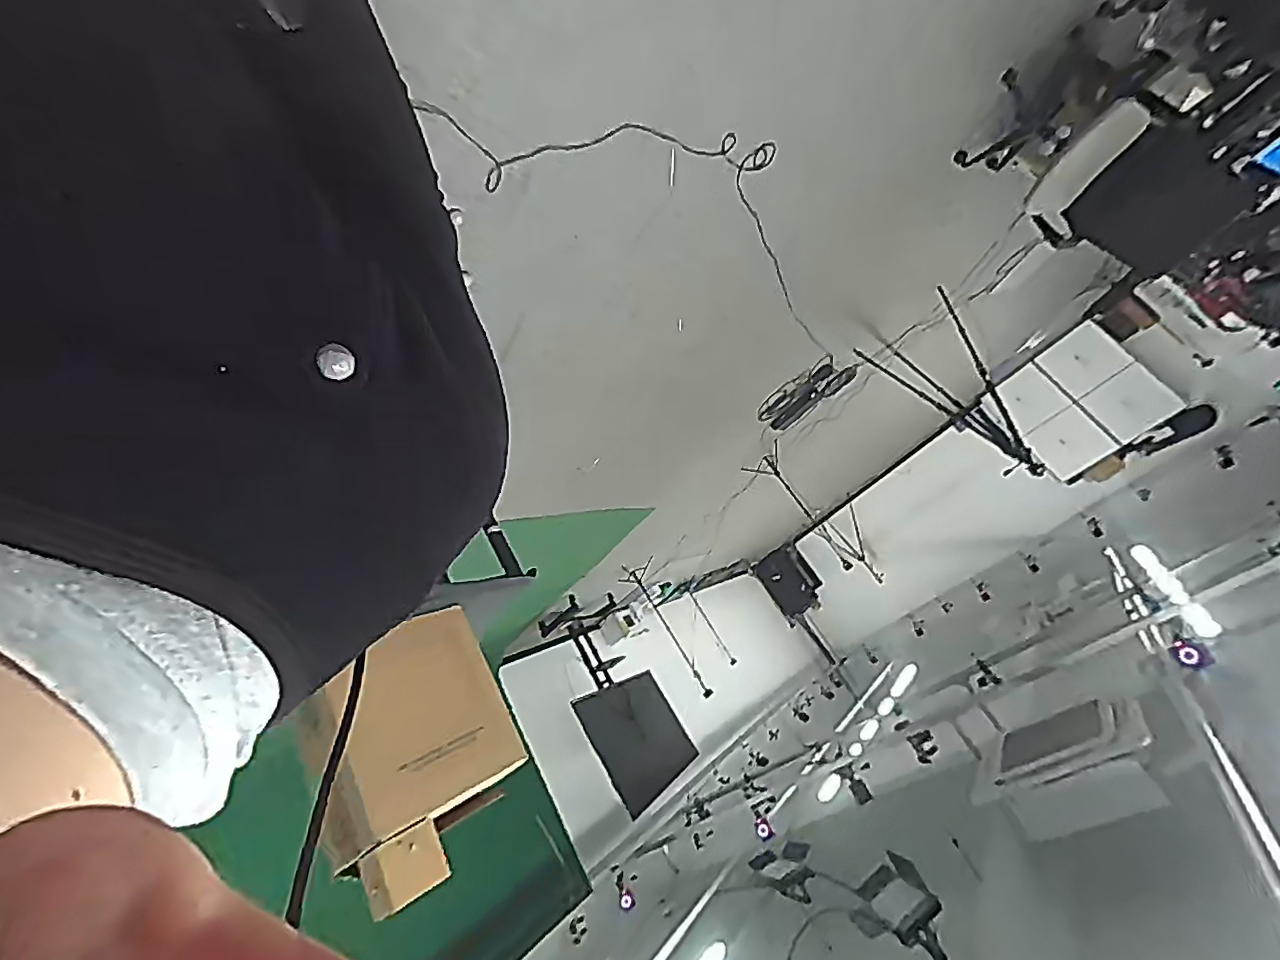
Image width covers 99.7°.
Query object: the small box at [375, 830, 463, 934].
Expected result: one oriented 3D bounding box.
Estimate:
[{"bbox_3d":[-0.647,1.157,1.568,0.168,0.176,0.179,-5,143,-49],"label":"small box"}]
